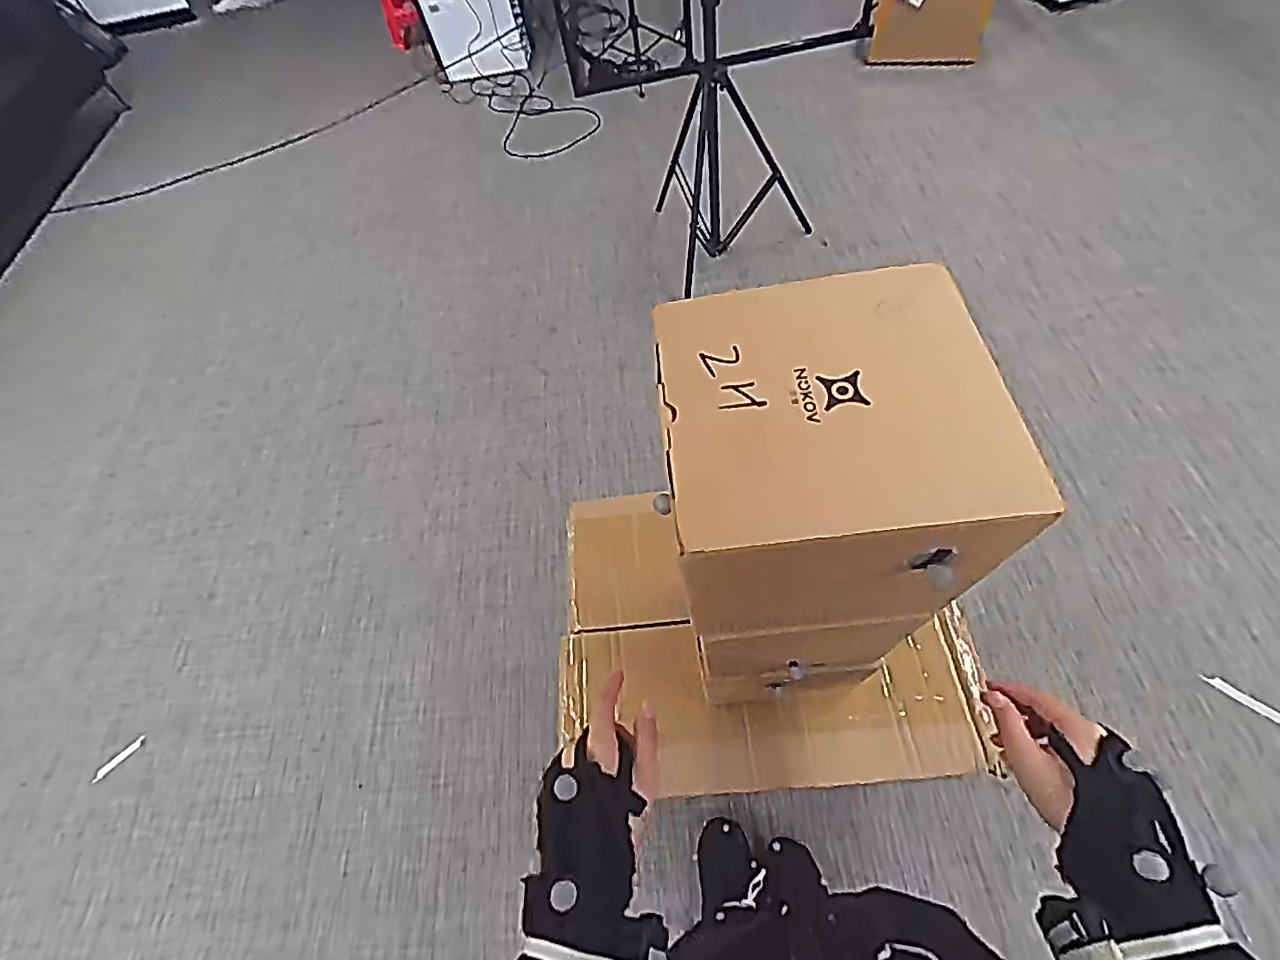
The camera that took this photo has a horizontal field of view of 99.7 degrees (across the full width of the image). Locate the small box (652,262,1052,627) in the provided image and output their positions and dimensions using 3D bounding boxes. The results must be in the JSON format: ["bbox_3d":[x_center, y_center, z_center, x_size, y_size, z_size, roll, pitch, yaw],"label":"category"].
[{"bbox_3d":[0.107,-0.010,0.356,0.179,0.176,0.168,-7,60,5],"label":"small box"}]

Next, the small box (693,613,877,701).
[{"bbox_3d":[0.152,0.158,0.637,0.179,0.176,0.168,-7,60,5],"label":"small box"}]
